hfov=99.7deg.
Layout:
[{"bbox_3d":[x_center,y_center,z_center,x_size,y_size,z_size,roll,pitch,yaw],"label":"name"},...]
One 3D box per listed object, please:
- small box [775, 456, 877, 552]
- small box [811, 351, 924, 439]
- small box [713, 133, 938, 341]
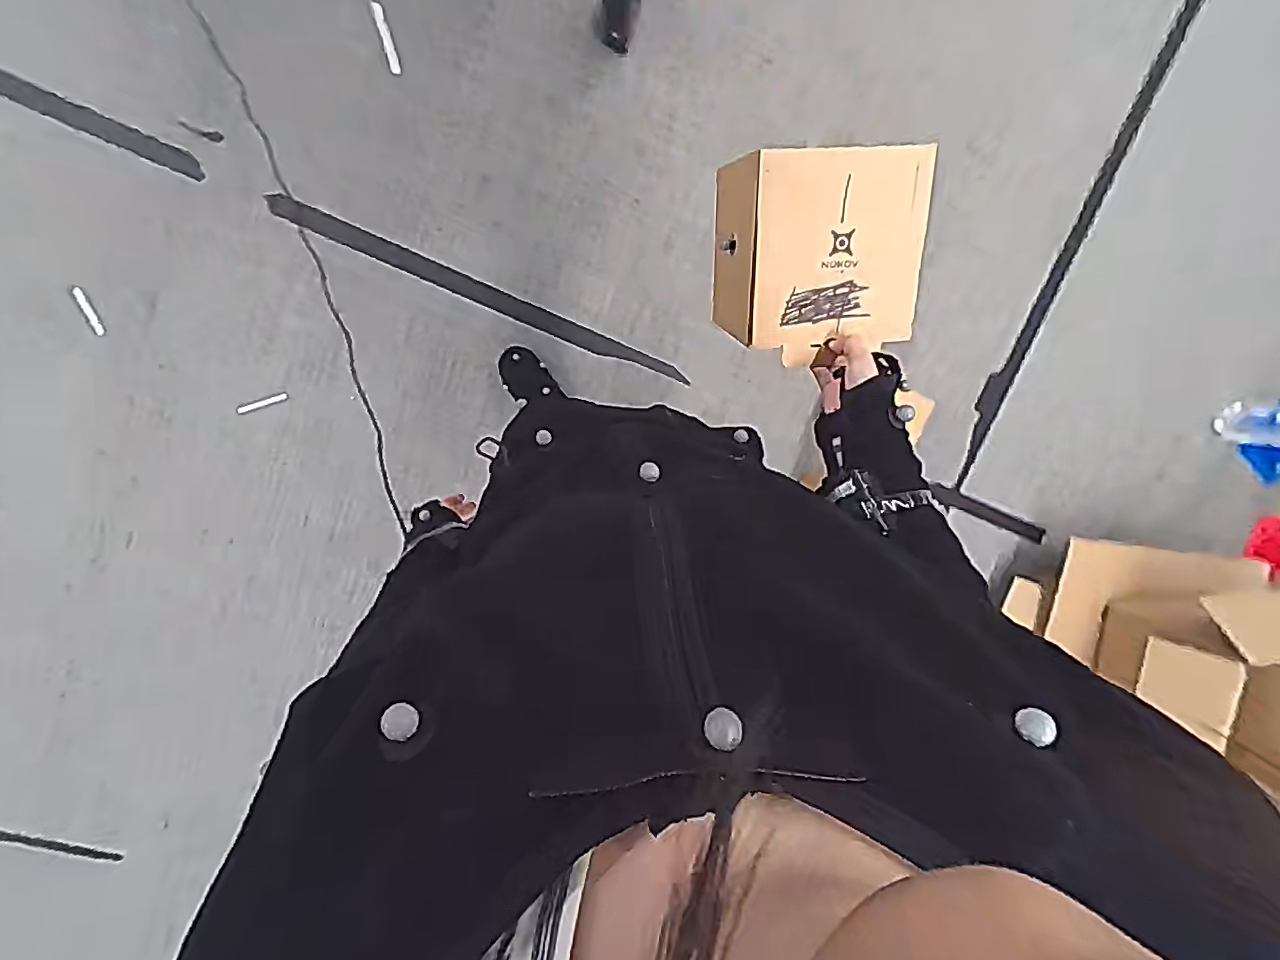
[{"bbox_3d":[0.474,0.057,1.415,0.168,0.176,0.179,22,101,-10],"label":"small box"},{"bbox_3d":[0.559,-0.216,1.358,0.179,0.176,0.168,17,102,-11],"label":"small box"},{"bbox_3d":[0.176,-0.255,0.575,0.168,0.176,0.179,-4,115,-4],"label":"small box"}]
